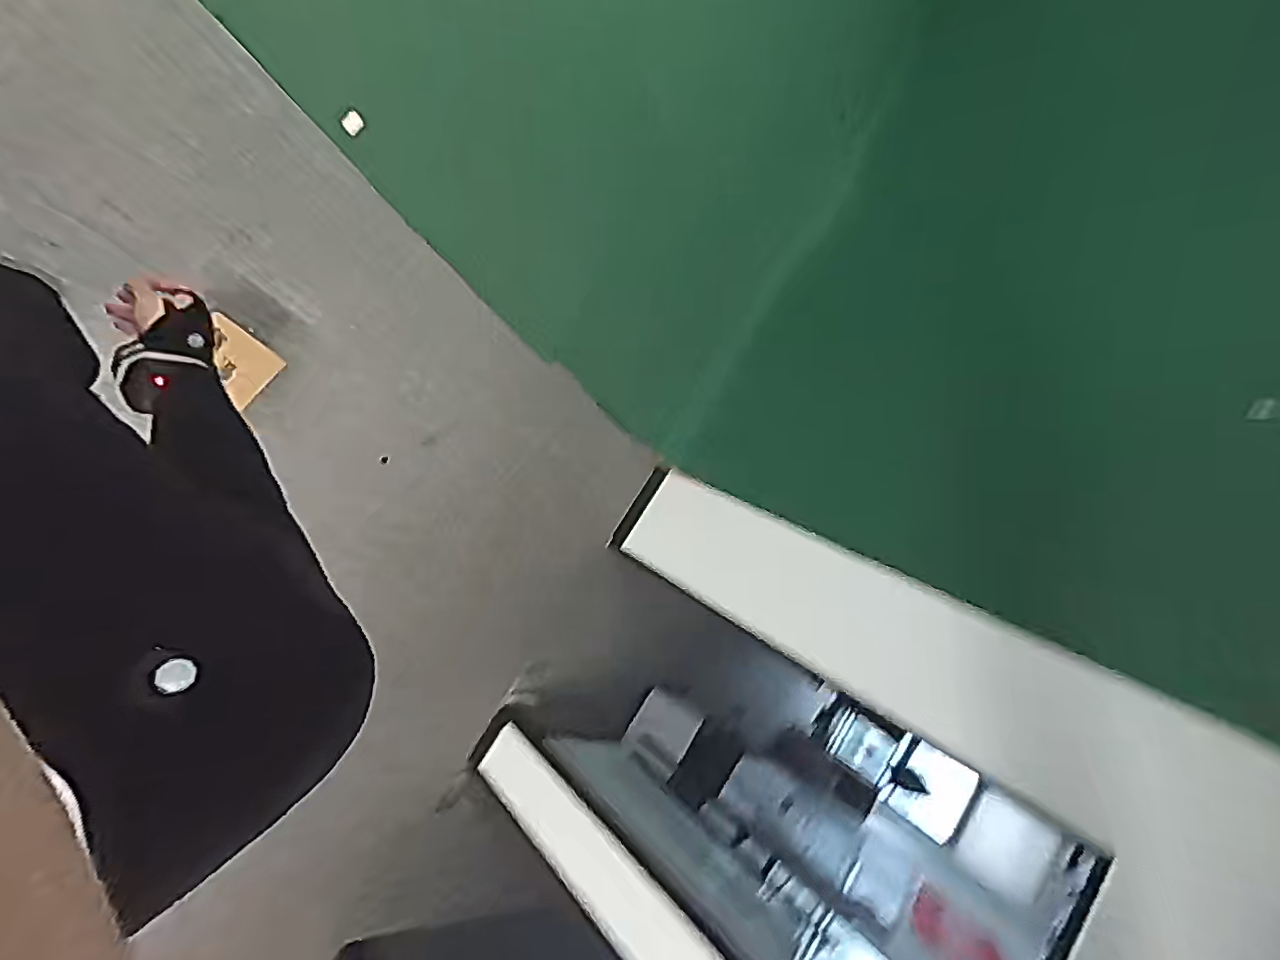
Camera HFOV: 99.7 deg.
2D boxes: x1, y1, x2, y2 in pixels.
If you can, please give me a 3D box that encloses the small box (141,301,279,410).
[{"bbox_3d":[-0.992,-0.292,1.245,0.168,0.176,0.179,-54,143,-12],"label":"small box"}]
